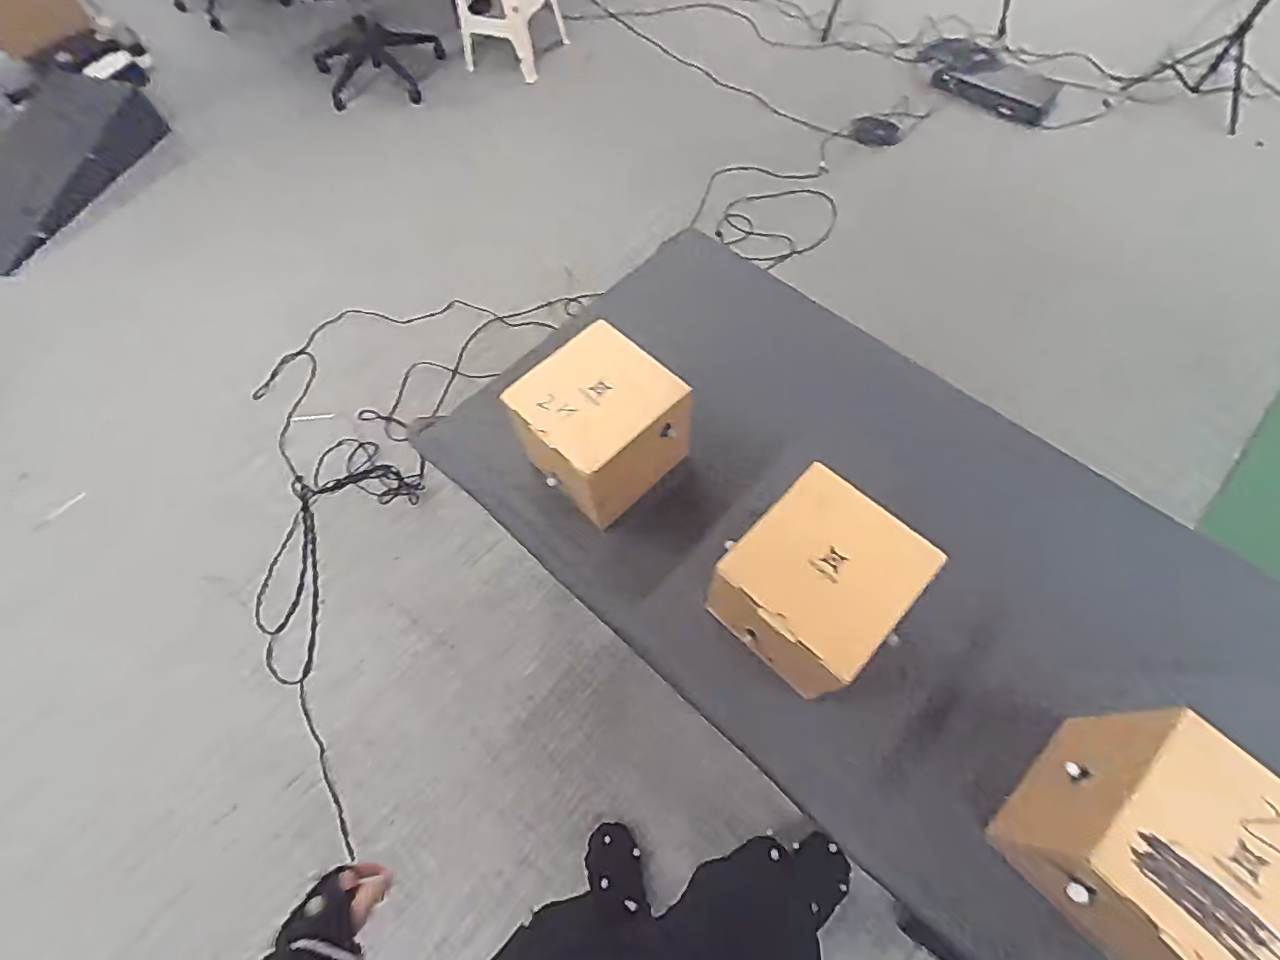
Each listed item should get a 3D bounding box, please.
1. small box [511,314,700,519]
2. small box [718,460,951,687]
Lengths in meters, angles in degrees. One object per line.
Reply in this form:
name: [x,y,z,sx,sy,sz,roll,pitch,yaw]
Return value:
small box: [-0.042,-0.080,0.731,0.179,0.176,0.168,-41,69,-17]
small box: [0.207,0.115,0.629,0.168,0.176,0.179,42,72,19]
